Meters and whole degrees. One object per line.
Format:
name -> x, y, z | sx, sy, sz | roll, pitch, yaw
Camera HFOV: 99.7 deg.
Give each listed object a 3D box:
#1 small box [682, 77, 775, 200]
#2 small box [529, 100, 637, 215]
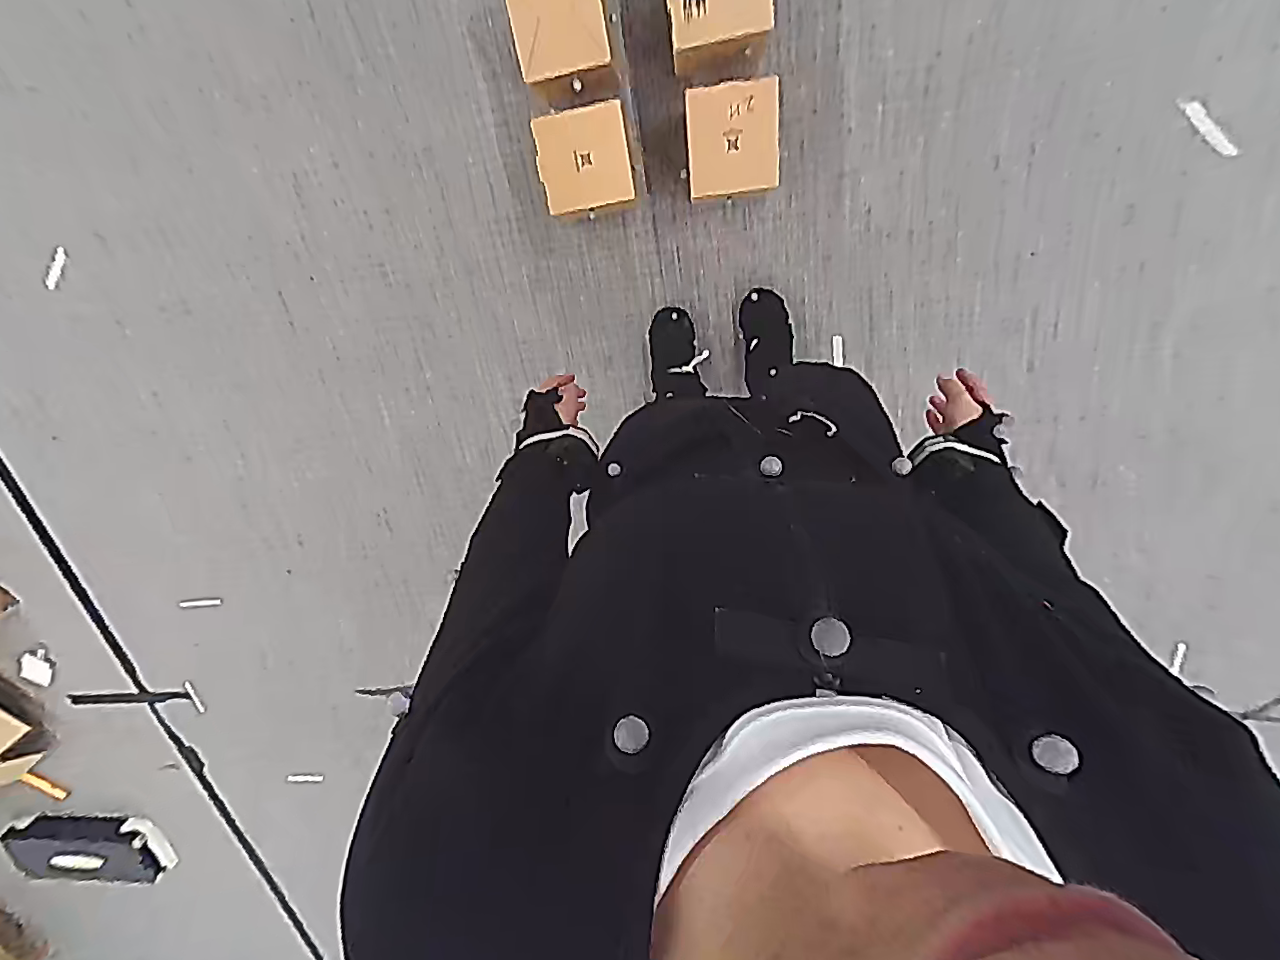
small box -> 0.171, -0.657, 1.063 | 0.168, 0.176, 0.179 | -4, 113, 6
small box -> -0.104, -0.644, 1.098 | 0.179, 0.176, 0.168 | -6, 113, 9
